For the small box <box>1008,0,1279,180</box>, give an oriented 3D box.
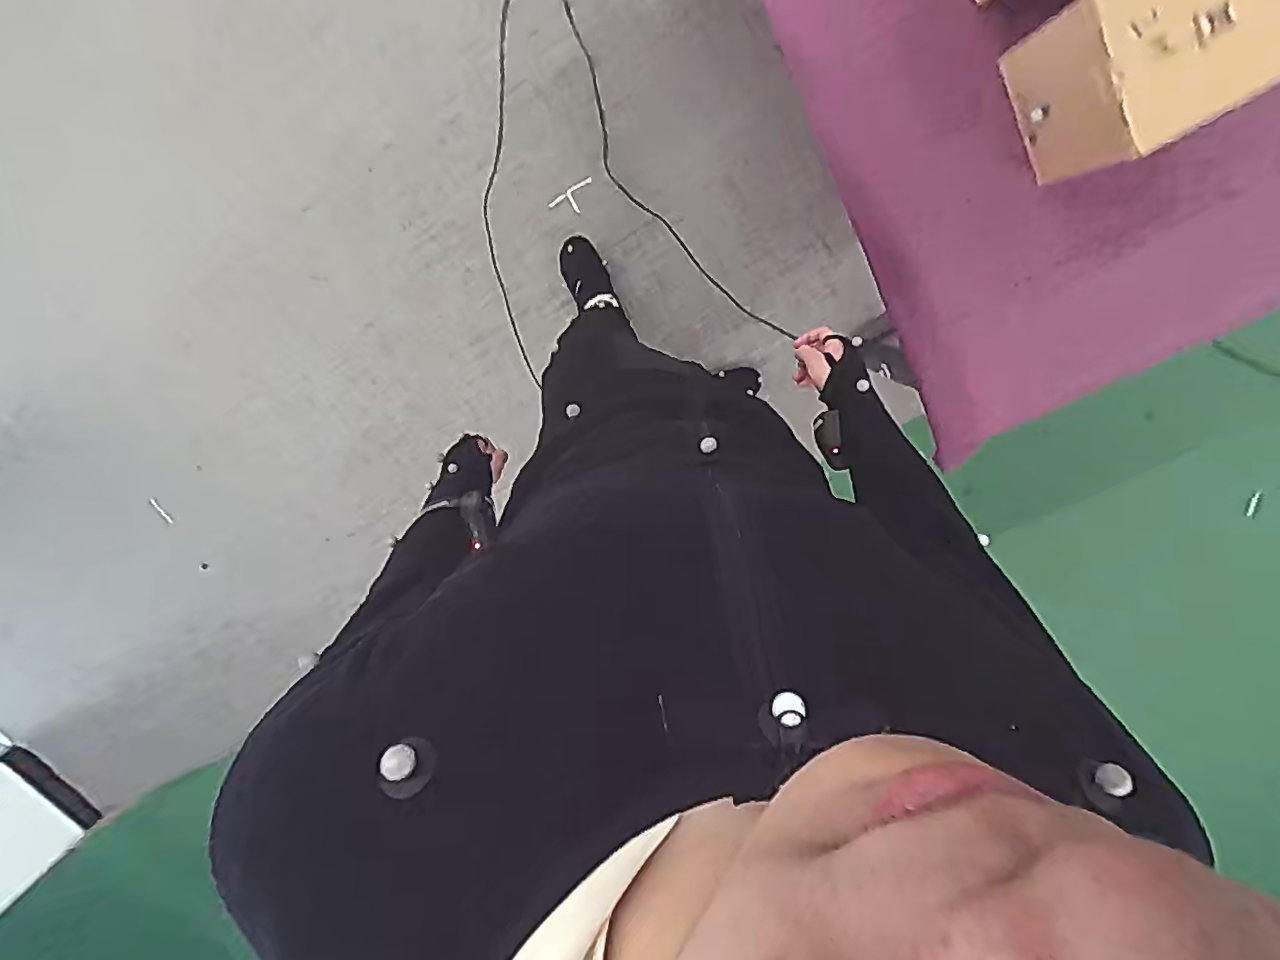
[{"bbox_3d":[0.555,-0.464,0.591,0.179,0.176,0.168,-27,105,15],"label":"small box"}]
